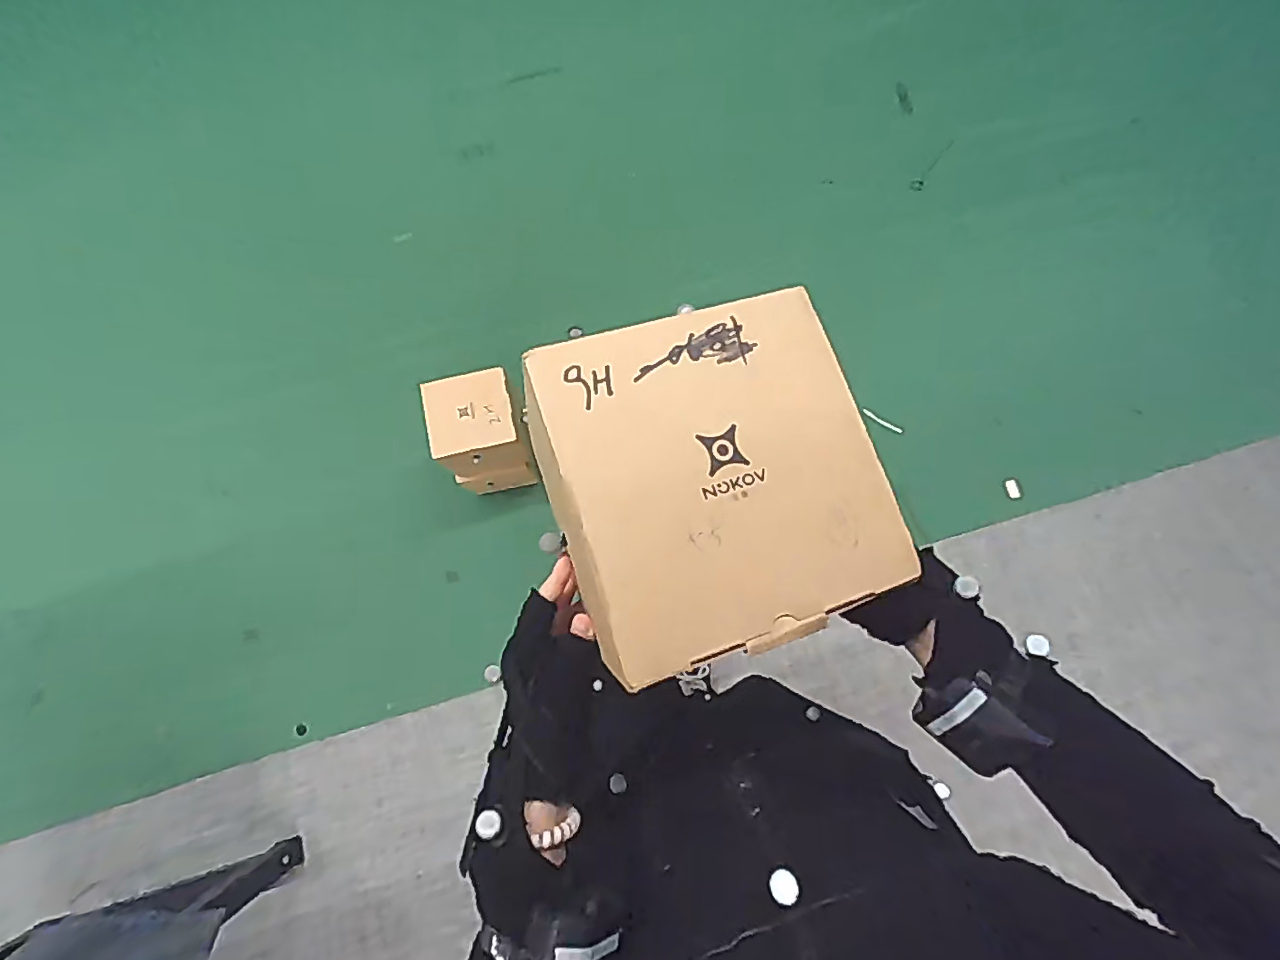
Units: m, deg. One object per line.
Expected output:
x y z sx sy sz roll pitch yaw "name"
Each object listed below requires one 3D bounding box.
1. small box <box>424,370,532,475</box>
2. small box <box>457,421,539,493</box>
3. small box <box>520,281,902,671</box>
-0.348 -0.118 1.183 0.179 0.176 0.168 -12 78 -4 "small box"
-0.354 -0.071 1.341 0.168 0.176 0.179 -11 77 -3 "small box"
0.026 0.003 0.359 0.168 0.176 0.179 -16 82 -13 "small box"
